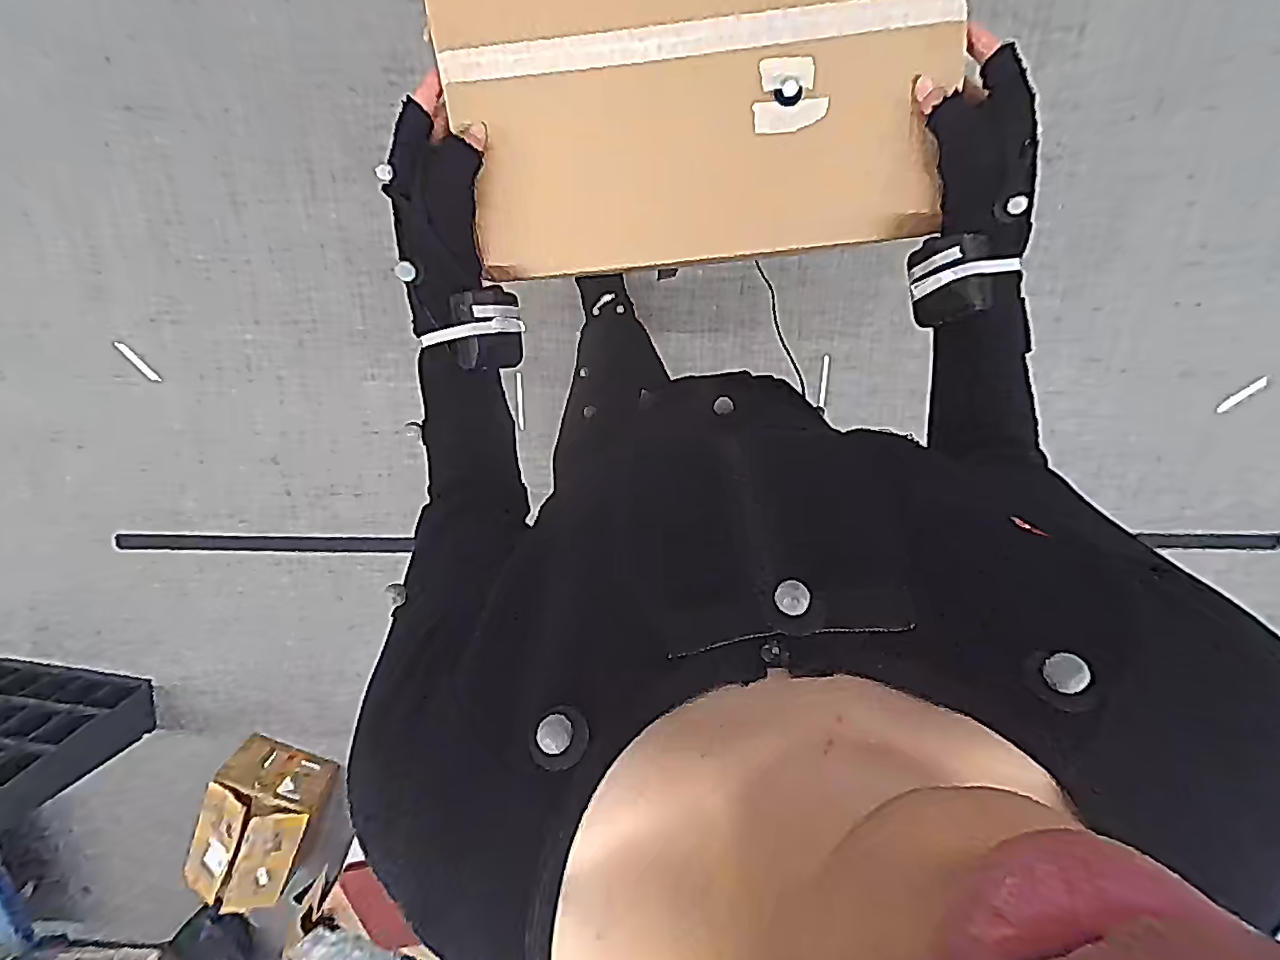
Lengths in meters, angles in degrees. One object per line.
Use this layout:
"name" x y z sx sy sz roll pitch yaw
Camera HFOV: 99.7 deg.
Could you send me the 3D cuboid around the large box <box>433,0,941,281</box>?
"large box" 0.037 -0.399 0.571 0.408 0.320 0.320 -6 110 1
